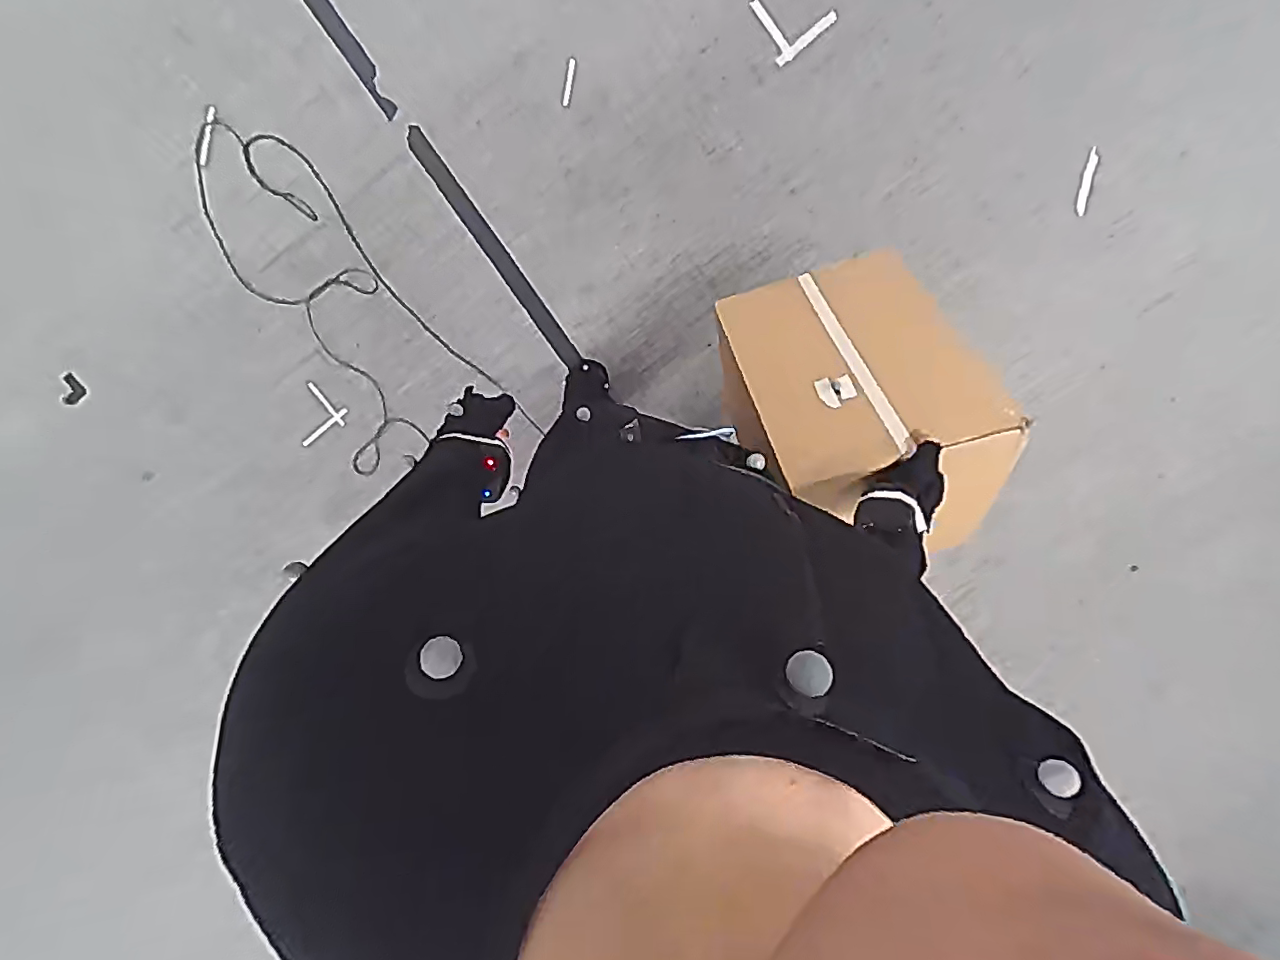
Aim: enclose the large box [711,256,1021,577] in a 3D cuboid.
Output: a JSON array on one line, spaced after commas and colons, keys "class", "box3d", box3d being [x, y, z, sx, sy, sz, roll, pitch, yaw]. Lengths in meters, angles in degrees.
[{"class": "large box", "box3d": [0.335, -0.103, 0.932, 0.320, 0.320, 0.408, -16, 55, 5]}]
